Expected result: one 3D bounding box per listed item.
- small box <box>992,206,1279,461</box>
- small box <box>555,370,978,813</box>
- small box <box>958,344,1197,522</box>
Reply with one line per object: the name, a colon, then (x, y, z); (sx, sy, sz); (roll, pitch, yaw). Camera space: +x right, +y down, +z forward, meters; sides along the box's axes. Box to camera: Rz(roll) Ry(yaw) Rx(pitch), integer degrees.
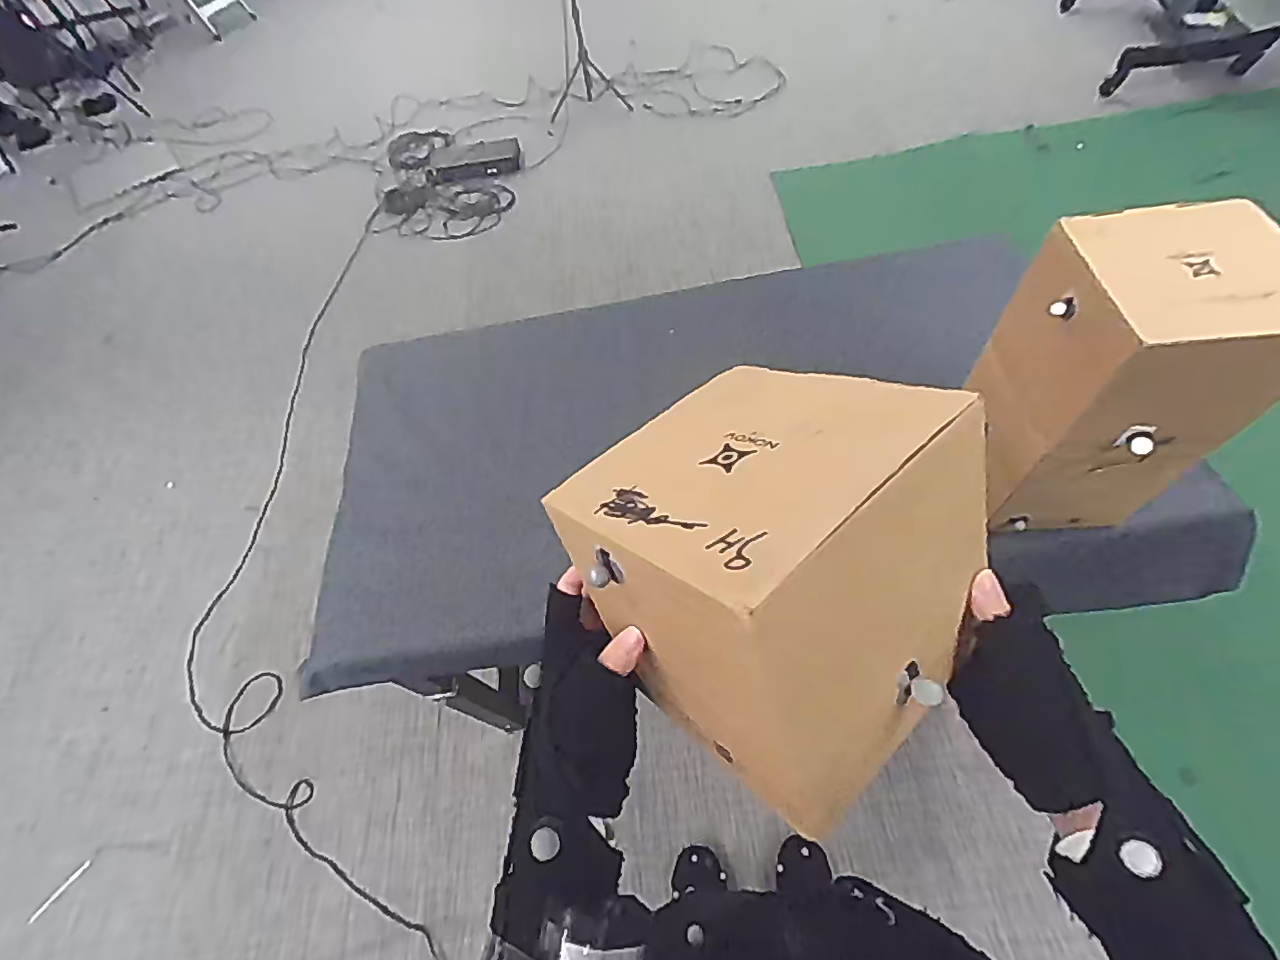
small box: (0.490, -0.139, 0.541); (0.168, 0.176, 0.179); (-4, 58, 7)
small box: (0.081, 0.050, 0.338); (0.179, 0.176, 0.168); (-34, 31, -24)
small box: (0.513, -0.056, 0.678); (0.168, 0.176, 0.179); (-3, 56, 6)
